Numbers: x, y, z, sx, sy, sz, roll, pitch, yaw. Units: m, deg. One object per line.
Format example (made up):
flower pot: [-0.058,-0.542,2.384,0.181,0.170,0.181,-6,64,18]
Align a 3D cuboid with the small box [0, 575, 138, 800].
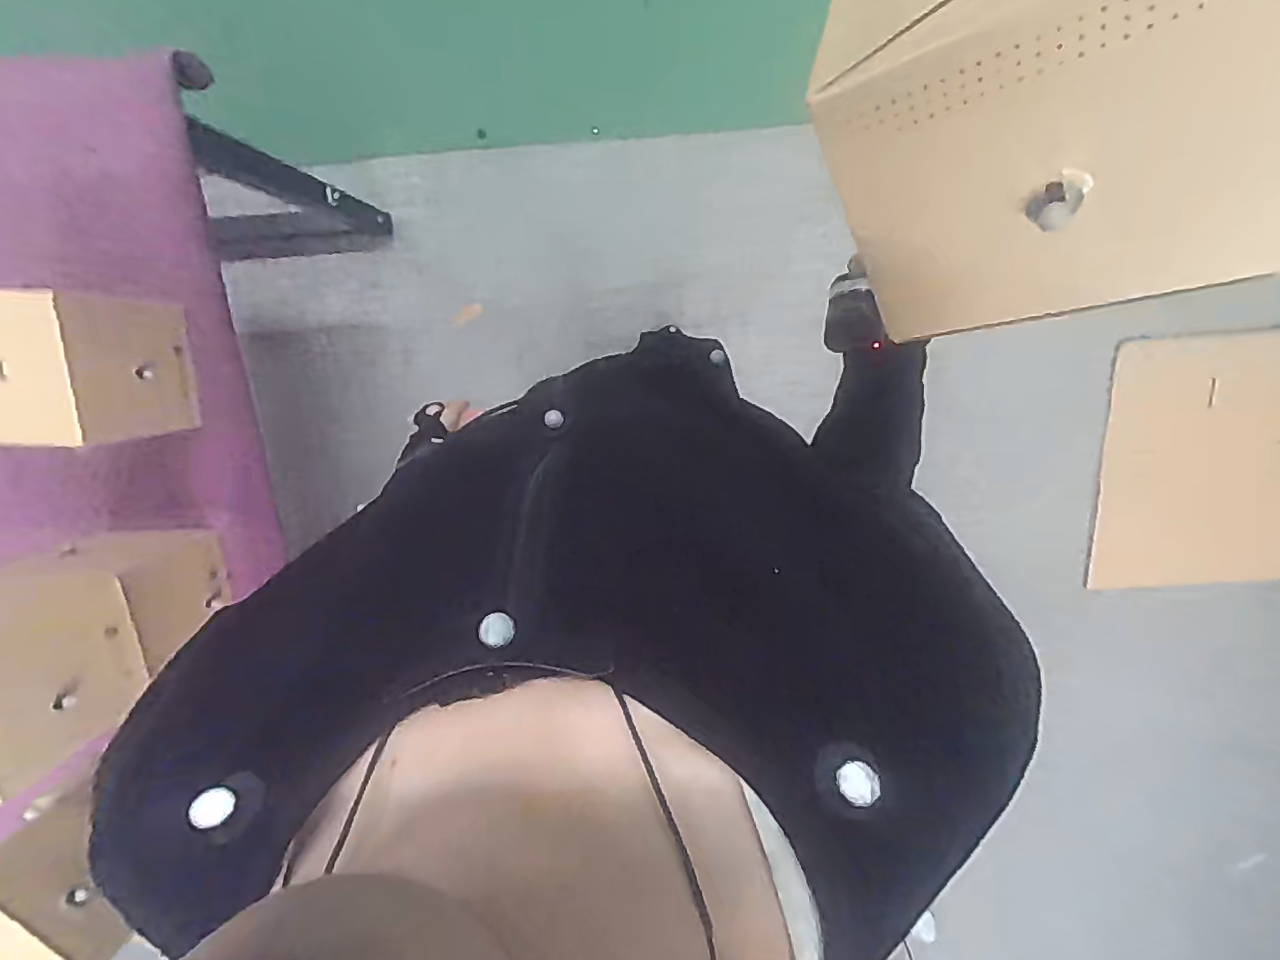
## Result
small box: [-0.694,0.210,0.575,0.179,0.176,0.168,-2,105,3]

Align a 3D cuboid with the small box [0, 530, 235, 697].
small box: [-0.707,0.172,0.733,0.179,0.176,0.168,-1,105,2]

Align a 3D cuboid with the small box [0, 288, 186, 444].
small box: [-0.698,-0.142,0.654,0.179,0.176,0.168,2,103,0]

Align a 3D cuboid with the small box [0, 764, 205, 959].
small box: [-0.683,0.485,0.638,0.168,0.176,0.179,-39,99,10]
